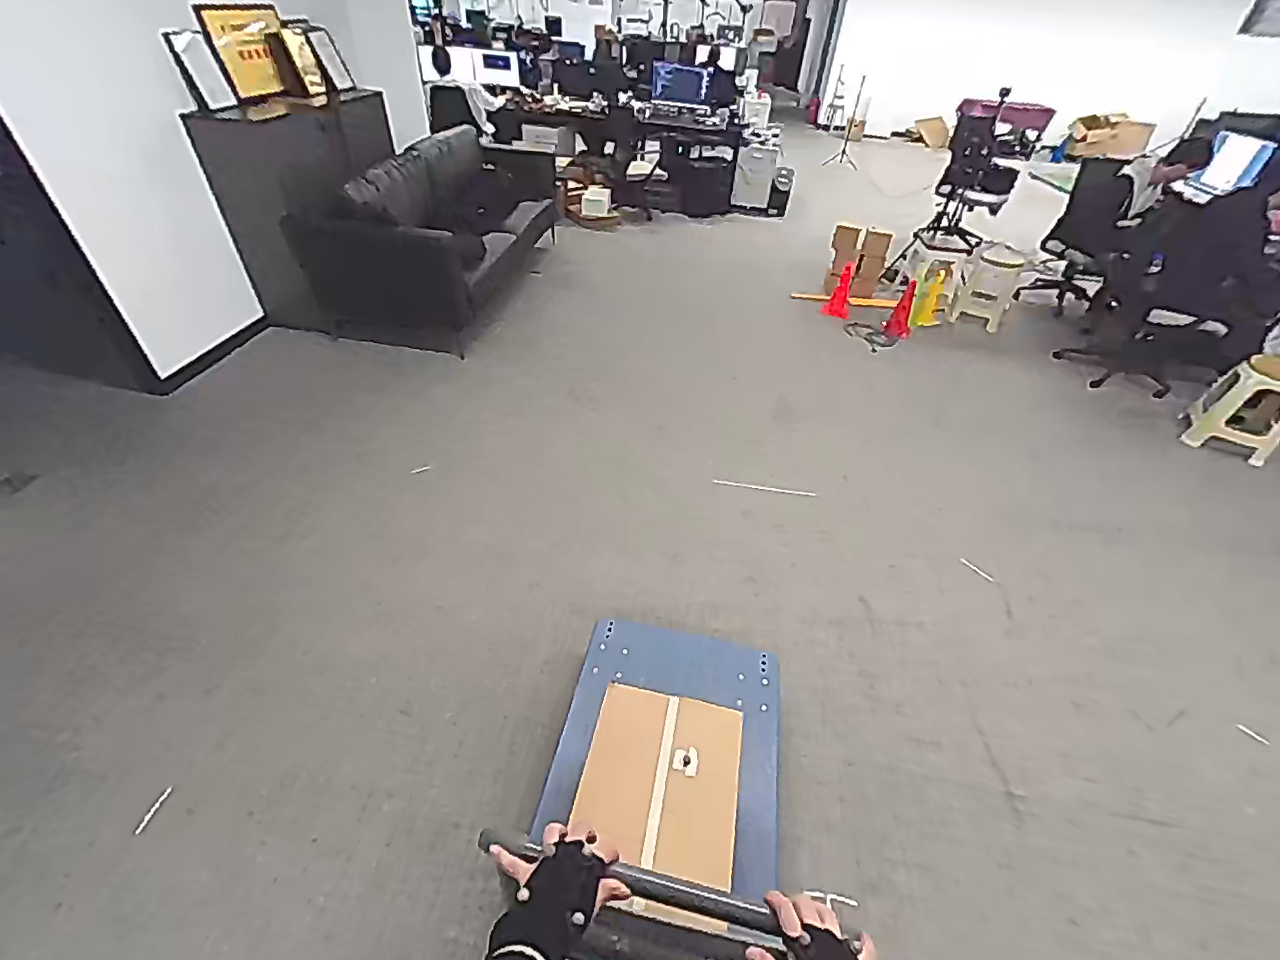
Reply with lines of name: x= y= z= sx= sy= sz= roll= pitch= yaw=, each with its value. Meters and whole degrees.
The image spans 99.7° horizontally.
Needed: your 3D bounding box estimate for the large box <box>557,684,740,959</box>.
large box: x=0.030 y=0.730 z=1.172 sx=0.320 sy=0.320 sz=0.408 roll=11 pitch=40 yaw=6
